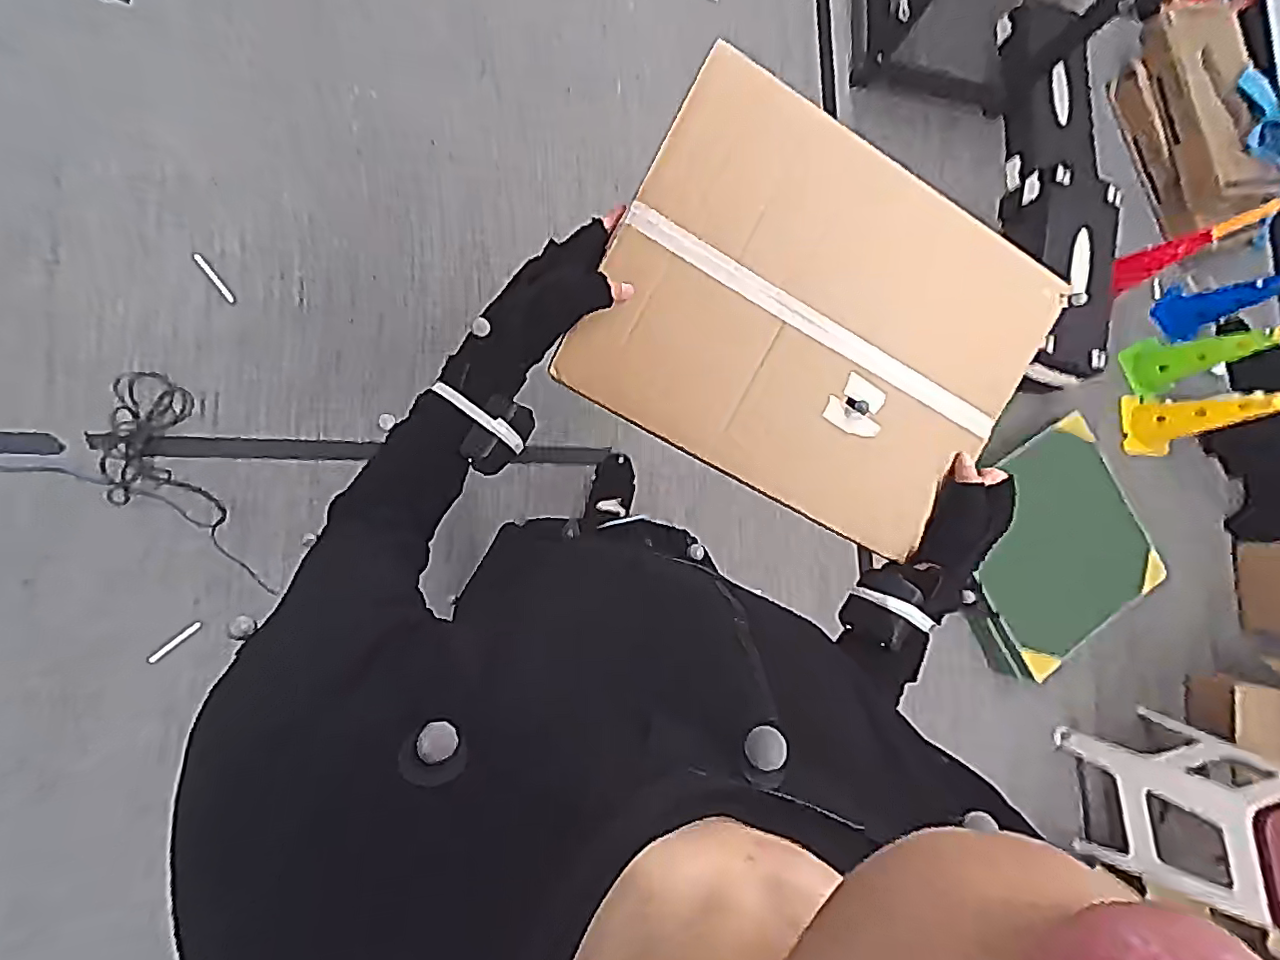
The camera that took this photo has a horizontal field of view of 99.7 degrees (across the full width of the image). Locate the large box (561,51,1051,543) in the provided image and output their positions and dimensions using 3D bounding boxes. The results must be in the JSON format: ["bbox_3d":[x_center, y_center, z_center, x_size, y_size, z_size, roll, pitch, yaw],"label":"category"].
[{"bbox_3d":[0.147,-0.176,0.657,0.408,0.320,0.320,27,96,-11],"label":"large box"}]
